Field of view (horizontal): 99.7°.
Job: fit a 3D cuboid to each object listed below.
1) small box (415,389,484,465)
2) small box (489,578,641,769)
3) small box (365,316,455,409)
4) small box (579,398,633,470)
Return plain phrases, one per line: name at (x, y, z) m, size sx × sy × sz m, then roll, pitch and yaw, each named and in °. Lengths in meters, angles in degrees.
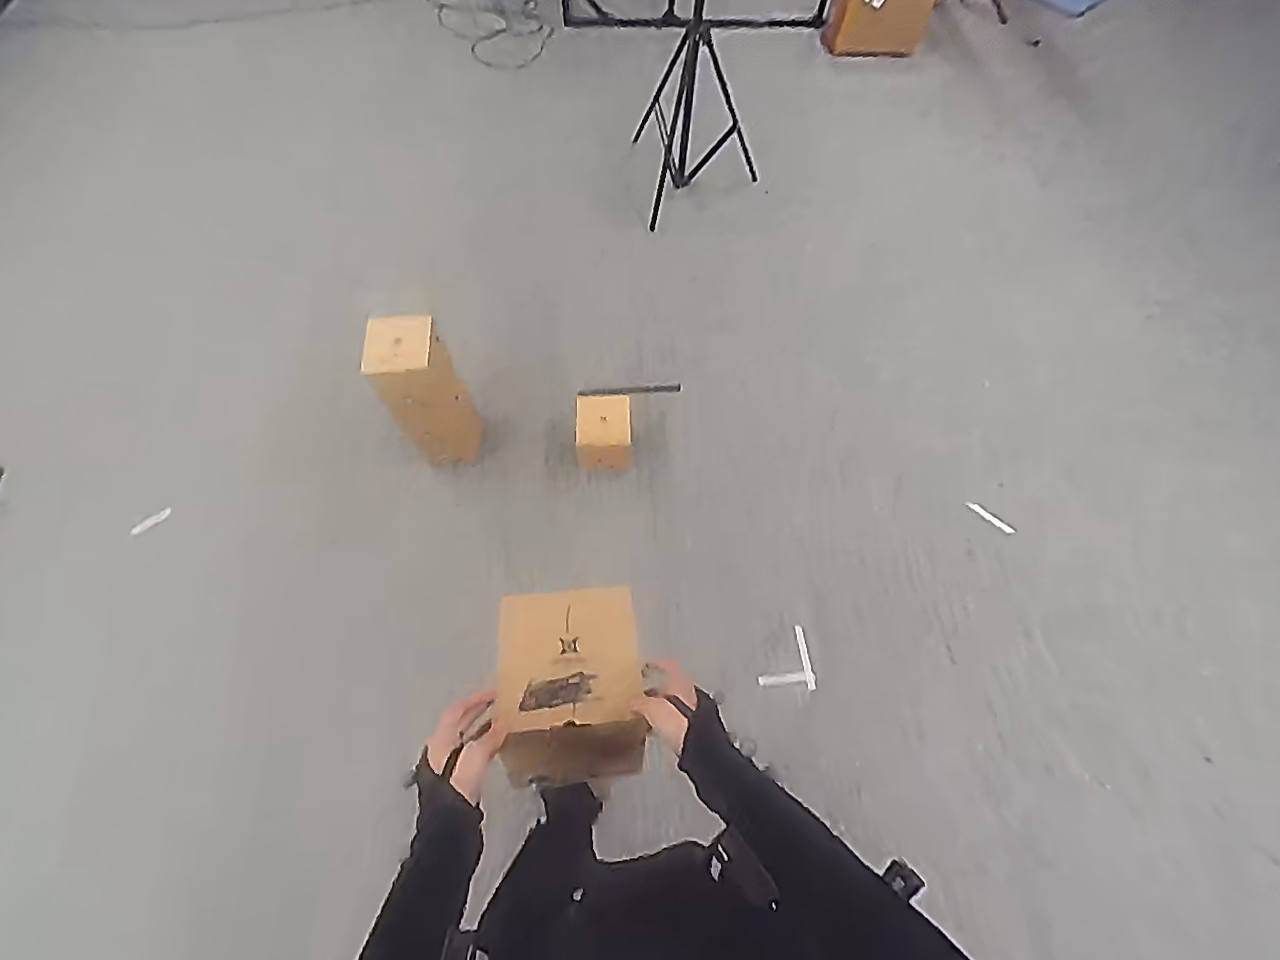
small box at (-0.603, -0.167, 1.729) m, size 0.168 × 0.176 × 0.179 m, roll -5°, pitch 63°, yaw -3°
small box at (-0.086, 0.248, 0.685) m, size 0.168 × 0.176 × 0.179 m, roll -2°, pitch 43°, yaw -5°
small box at (-0.600, -0.309, 1.433) m, size 0.168 × 0.176 × 0.179 m, roll -5°, pitch 64°, yaw -3°
small box at (-0.109, -0.146, 1.735) m, size 0.168 × 0.176 × 0.179 m, roll -1°, pitch 64°, yaw -3°
